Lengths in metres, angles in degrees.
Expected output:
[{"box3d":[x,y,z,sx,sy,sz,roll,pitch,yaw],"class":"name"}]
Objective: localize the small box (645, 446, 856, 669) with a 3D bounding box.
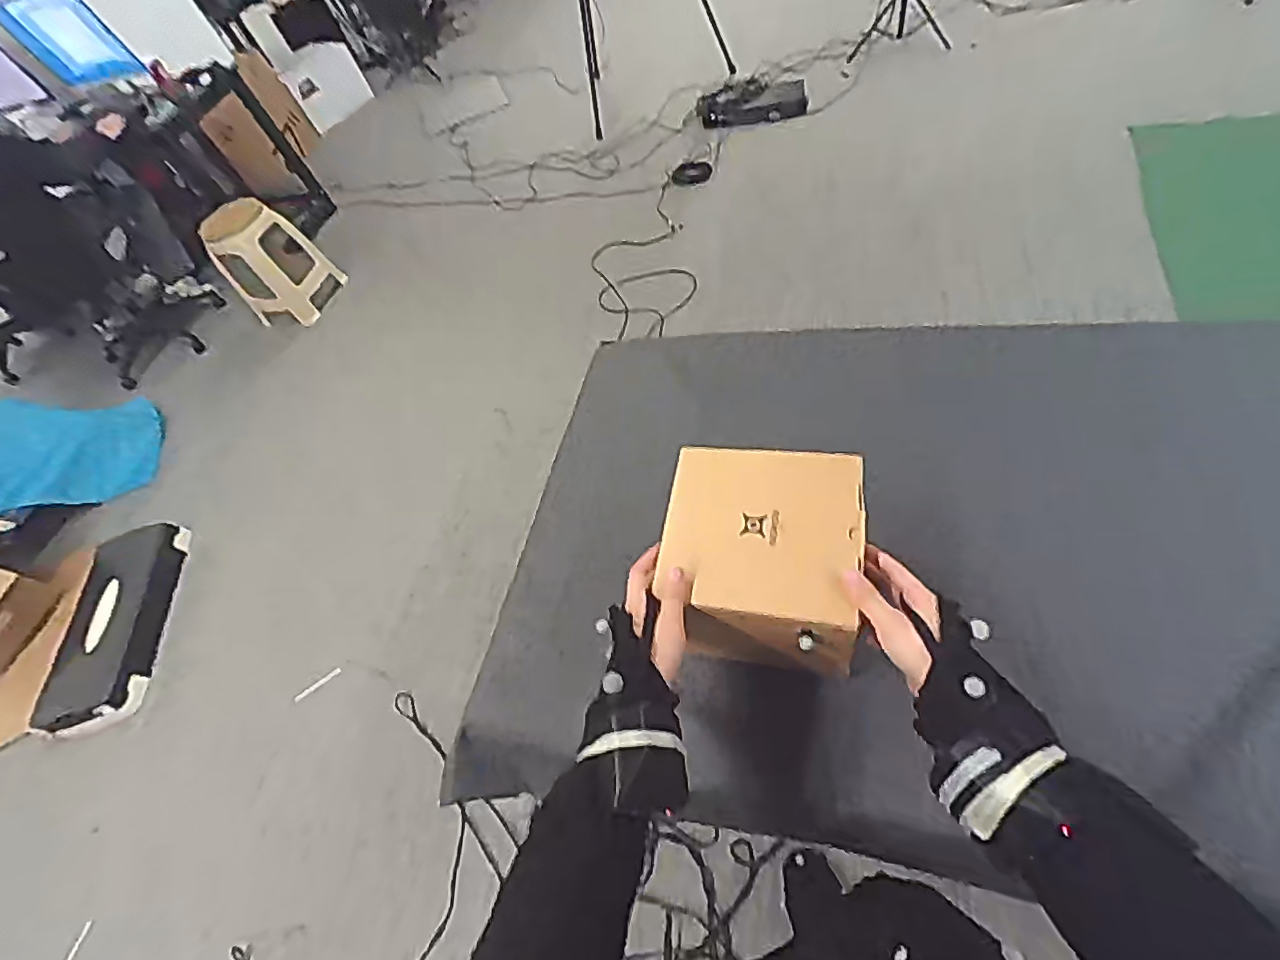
[{"box3d":[0.121,0.082,0.555,0.179,0.176,0.168,3,58,18],"class":"small box"}]
